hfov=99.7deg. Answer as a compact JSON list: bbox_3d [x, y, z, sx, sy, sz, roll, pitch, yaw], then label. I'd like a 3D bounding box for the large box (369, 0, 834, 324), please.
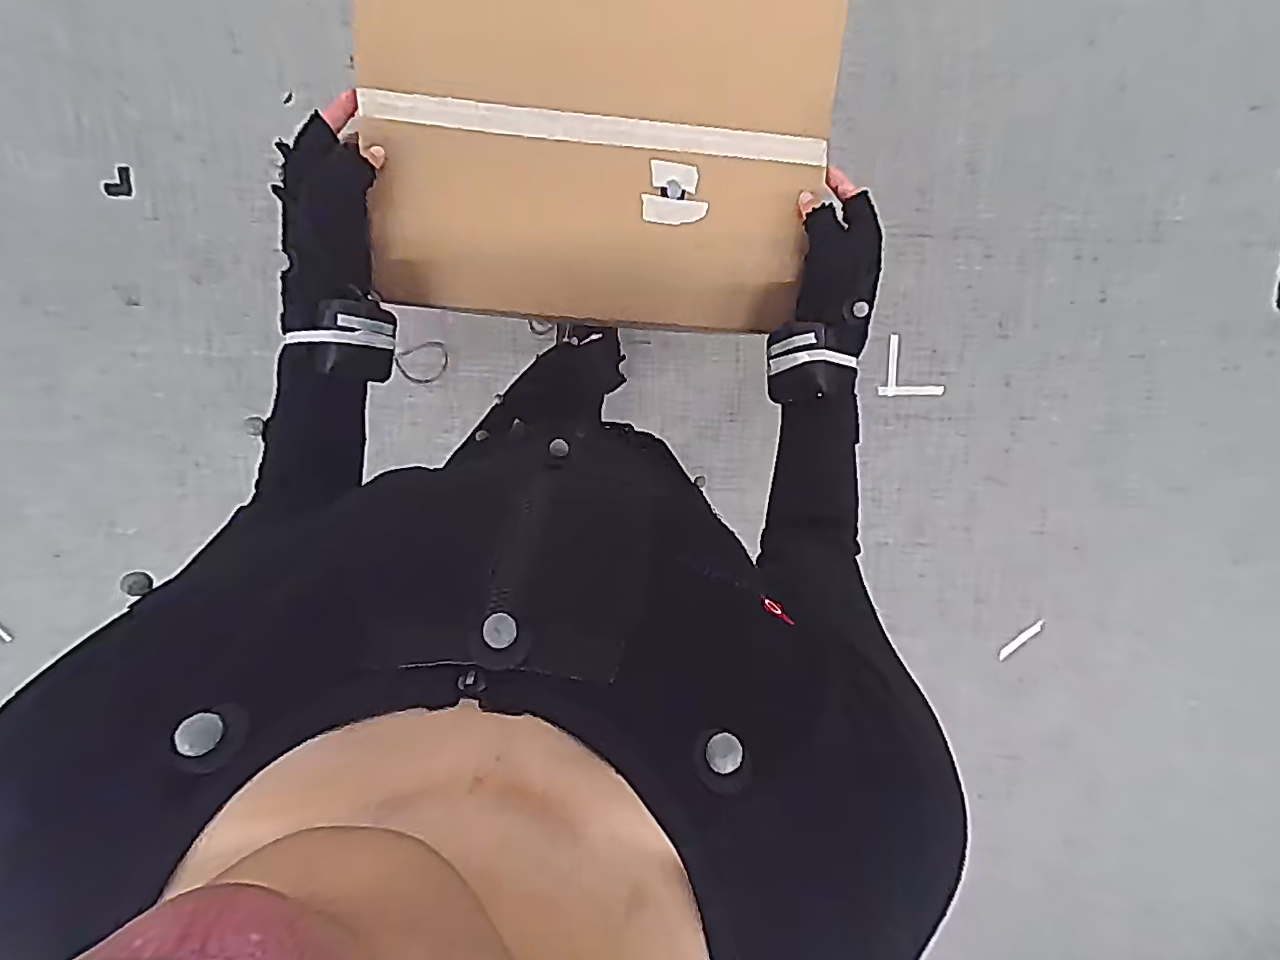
[{"bbox_3d":[-0.047,-0.355,0.629,0.408,0.320,0.320,2,105,-6],"label":"large box"}]
